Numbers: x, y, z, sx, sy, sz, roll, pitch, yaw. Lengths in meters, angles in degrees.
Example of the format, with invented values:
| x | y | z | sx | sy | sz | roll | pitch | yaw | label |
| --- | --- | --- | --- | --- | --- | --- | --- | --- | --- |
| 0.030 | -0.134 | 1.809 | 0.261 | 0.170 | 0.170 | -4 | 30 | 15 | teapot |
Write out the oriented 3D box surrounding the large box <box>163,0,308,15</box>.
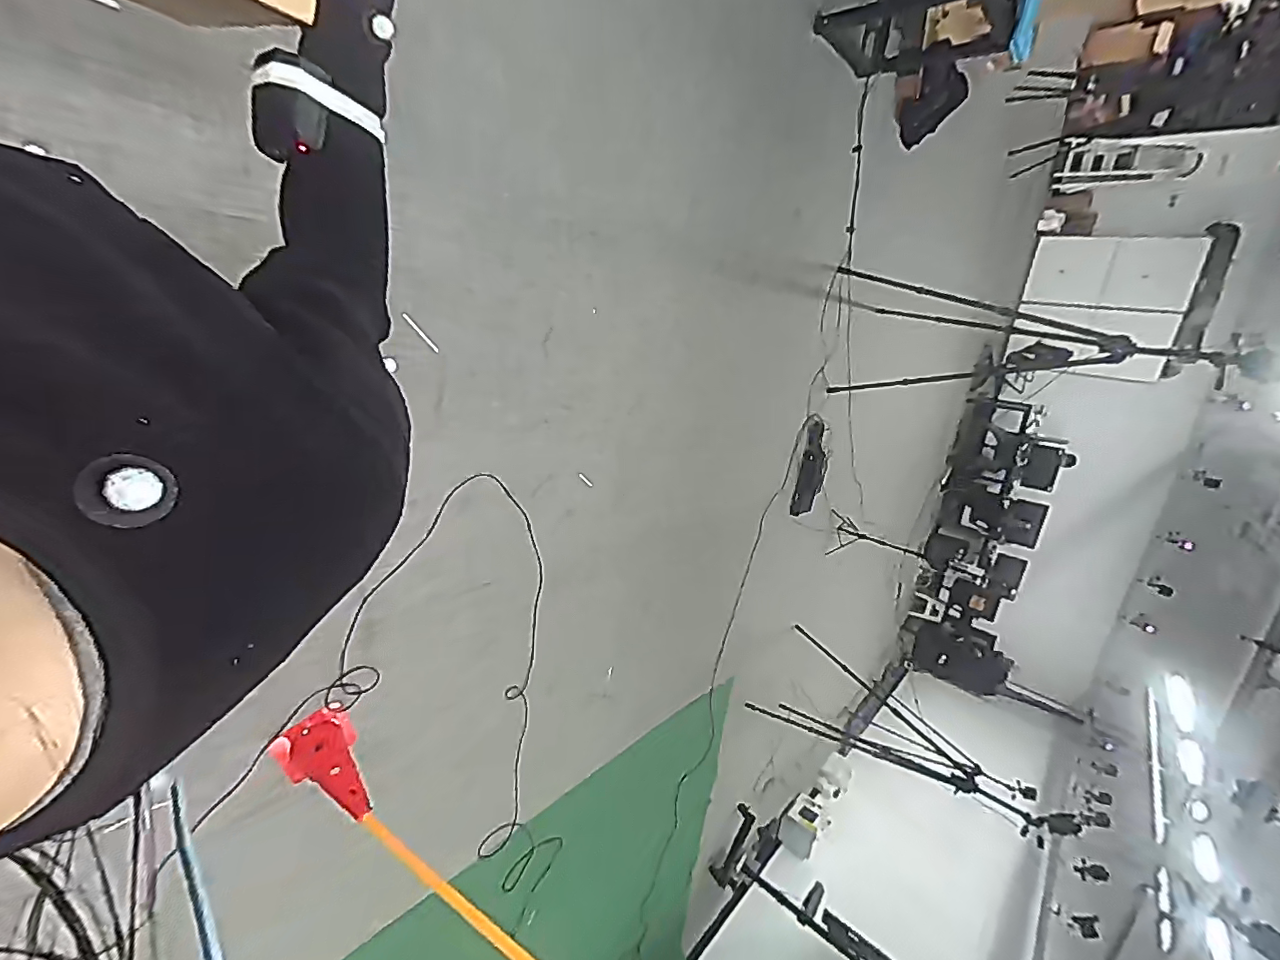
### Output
| x | y | z | sx | sy | sz | roll | pitch | yaw | label |
| --- | --- | --- | --- | --- | --- | --- | --- | --- | --- |
| -0.440 | -0.523 | 0.280 | 0.408 | 0.320 | 0.320 | -10 | 124 | -49 | large box |
